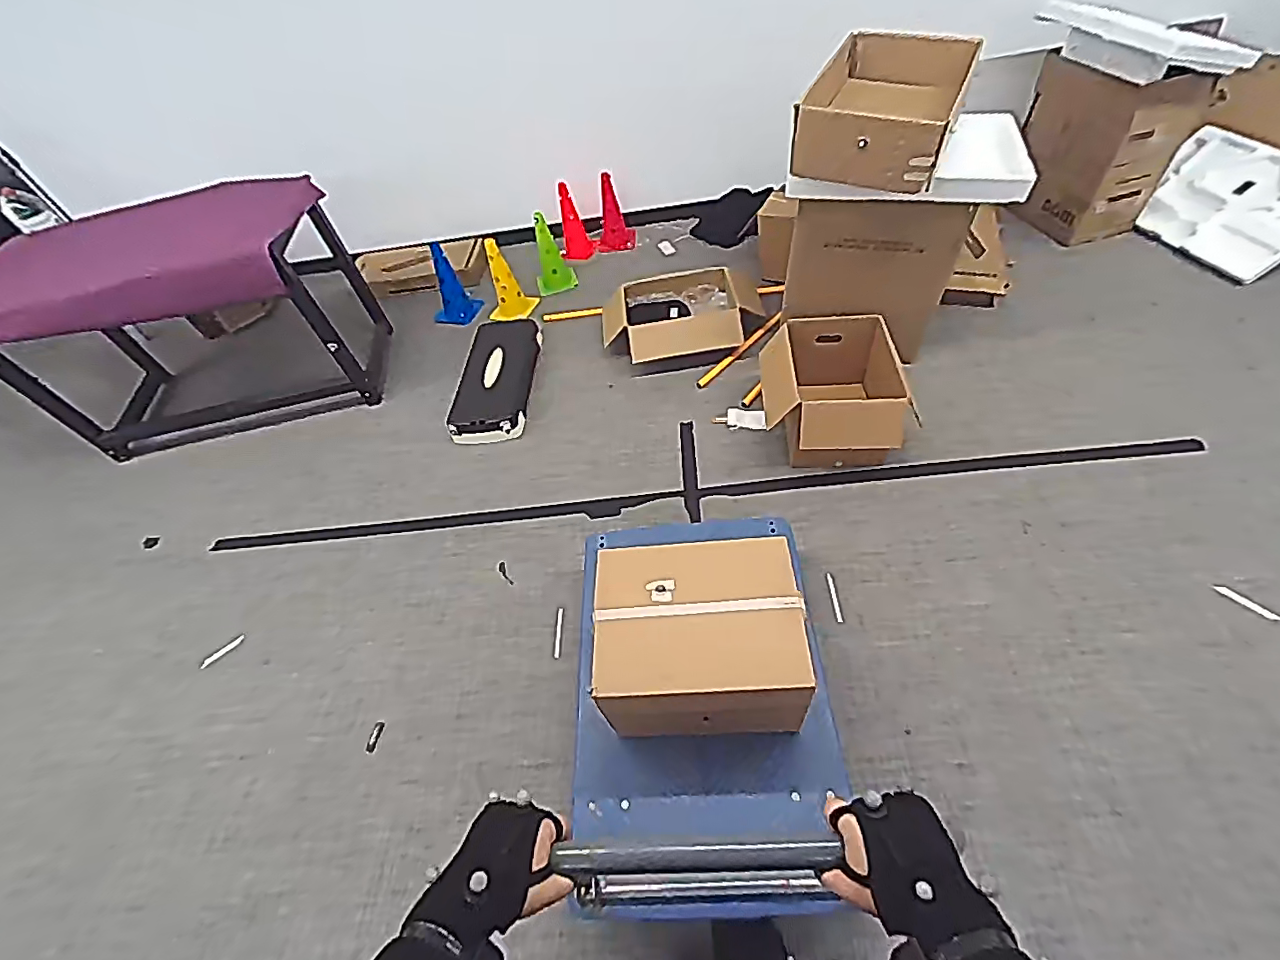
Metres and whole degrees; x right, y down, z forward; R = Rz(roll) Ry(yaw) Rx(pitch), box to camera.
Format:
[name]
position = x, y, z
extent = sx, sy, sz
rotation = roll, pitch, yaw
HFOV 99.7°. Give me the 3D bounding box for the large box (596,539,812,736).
[large box]
position = 0.133, 0.359, 1.197
extent = 0.408, 0.320, 0.320
rotation = -6, 51, 6
